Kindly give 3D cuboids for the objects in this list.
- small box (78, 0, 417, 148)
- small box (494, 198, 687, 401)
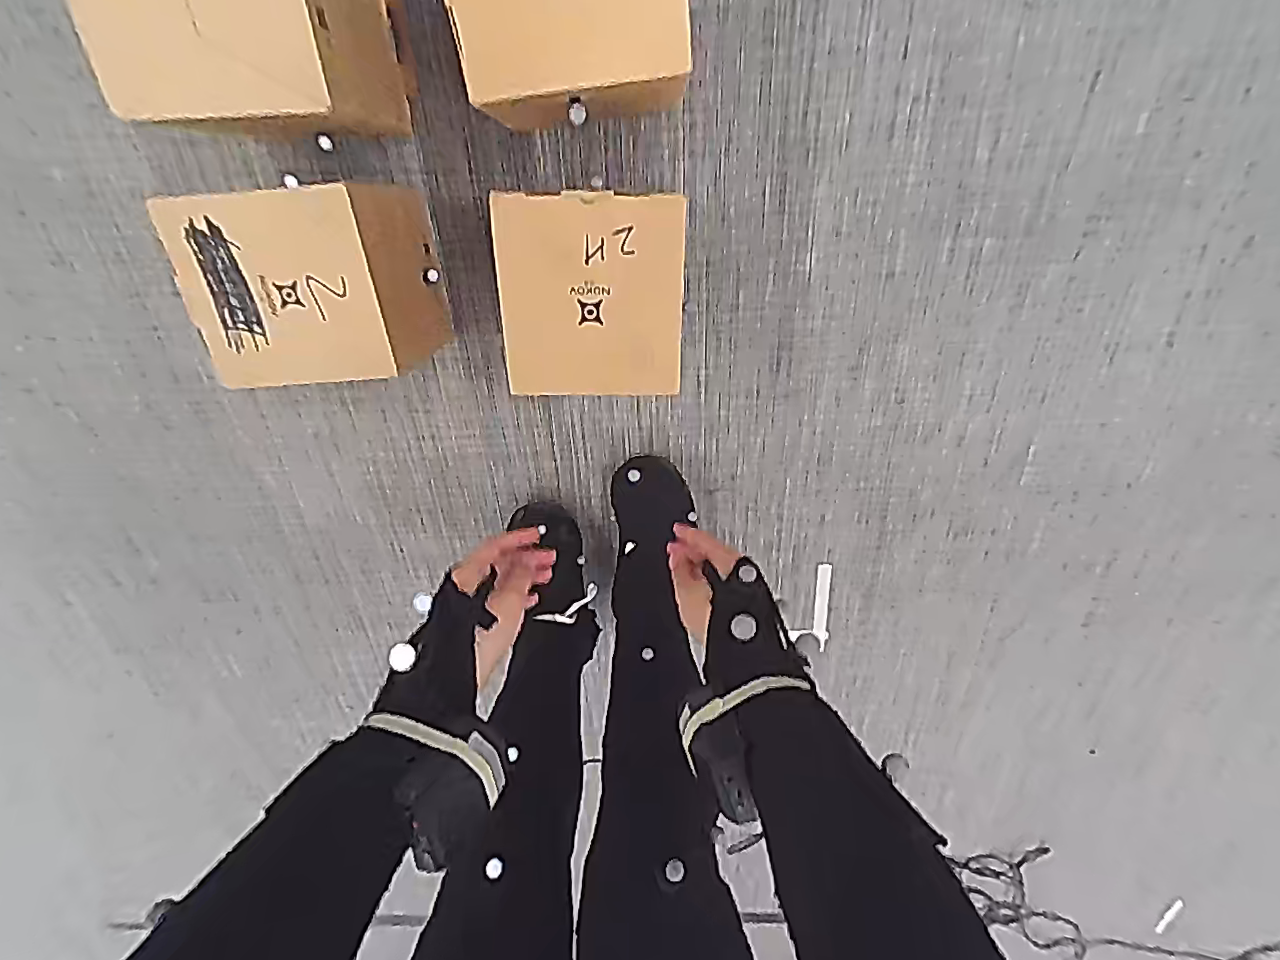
[{"bbox_3d":[-0.322,-0.389,0.461,0.179,0.176,0.168,-2,116,1],"label":"small box"},{"bbox_3d":[-0.042,-0.193,0.561,0.168,0.176,0.179,0,117,-1],"label":"small box"}]
